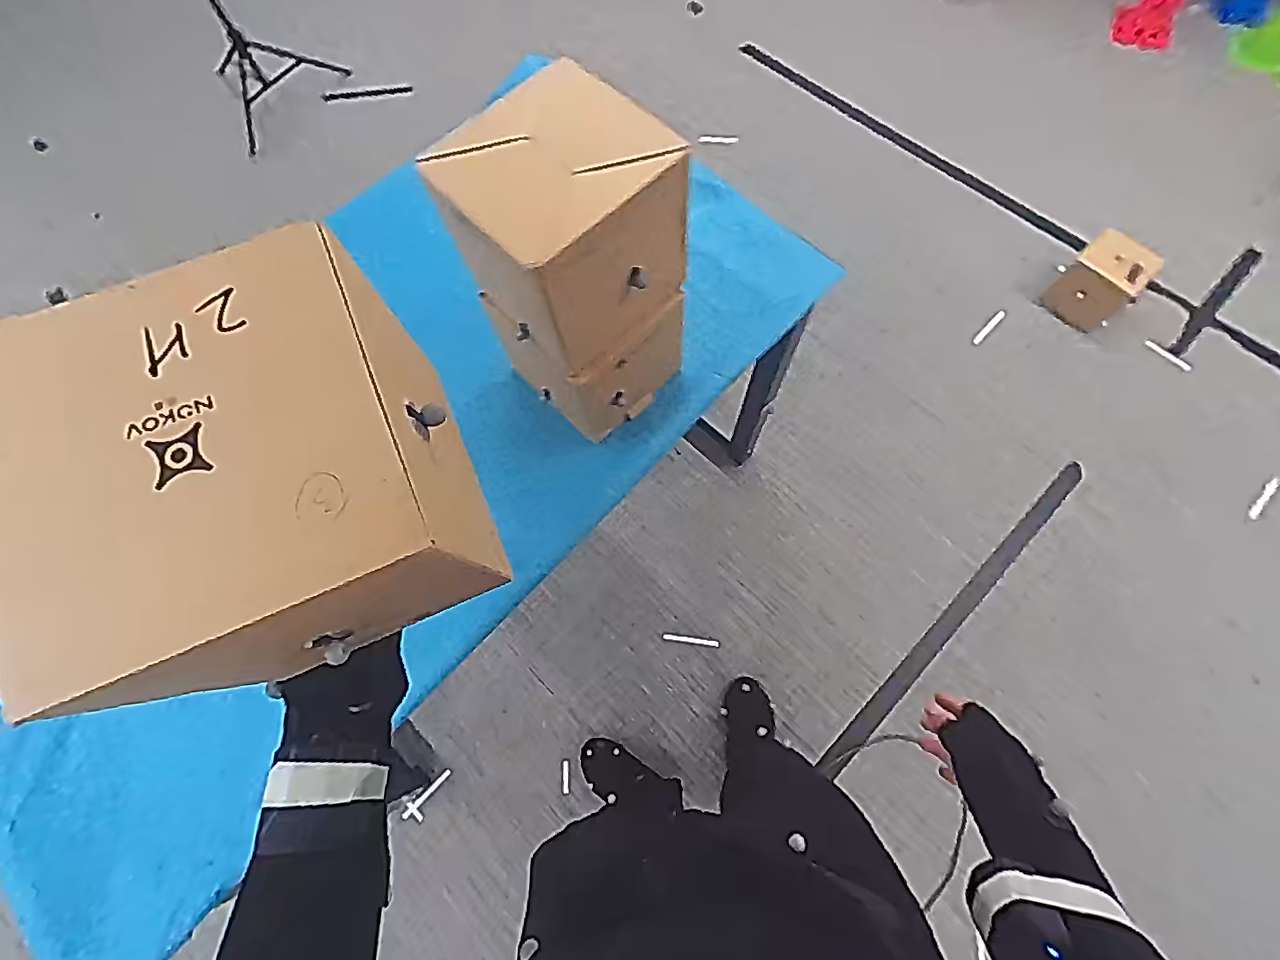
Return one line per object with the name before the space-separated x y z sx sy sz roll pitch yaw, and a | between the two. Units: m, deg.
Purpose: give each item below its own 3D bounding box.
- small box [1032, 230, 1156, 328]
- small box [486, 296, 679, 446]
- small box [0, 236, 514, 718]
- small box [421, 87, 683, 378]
small box | 1.295 -0.567 1.557 0.168 0.176 0.179 -42 74 -12
small box | -0.067 -0.179 0.686 0.179 0.176 0.168 42 77 15
small box | -0.187 0.006 0.313 0.168 0.176 0.179 -22 77 -8
small box | -0.073 -0.242 0.534 0.179 0.176 0.168 -43 73 -10
